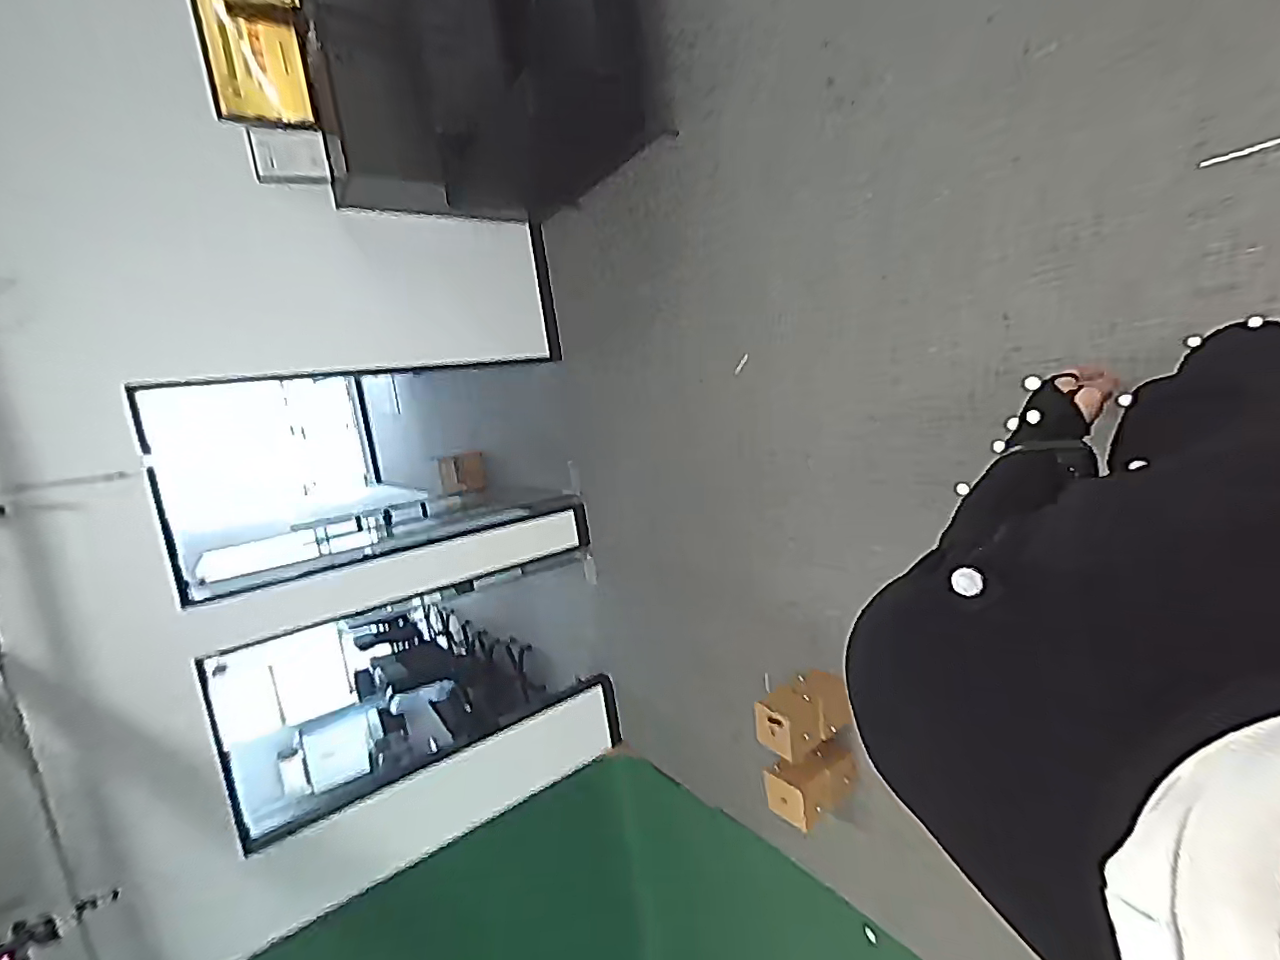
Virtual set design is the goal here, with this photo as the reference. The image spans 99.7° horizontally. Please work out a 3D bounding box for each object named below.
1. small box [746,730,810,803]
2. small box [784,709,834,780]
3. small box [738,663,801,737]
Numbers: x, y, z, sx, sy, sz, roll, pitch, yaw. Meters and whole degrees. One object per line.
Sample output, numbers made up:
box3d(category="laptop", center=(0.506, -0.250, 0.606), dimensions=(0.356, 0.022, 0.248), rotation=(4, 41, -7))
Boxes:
box3d(category="small box", center=(0.540, 1.093, 2.092), dimensions=(0.179, 0.176, 0.168), rotation=(5, 106, 54))
box3d(category="small box", center=(0.669, 1.062, 2.187), dimensions=(0.179, 0.176, 0.168), rotation=(8, 108, 53))
box3d(category="small box", center=(0.494, 0.829, 2.056), dimensions=(0.168, 0.176, 0.179), rotation=(11, 111, 53))
